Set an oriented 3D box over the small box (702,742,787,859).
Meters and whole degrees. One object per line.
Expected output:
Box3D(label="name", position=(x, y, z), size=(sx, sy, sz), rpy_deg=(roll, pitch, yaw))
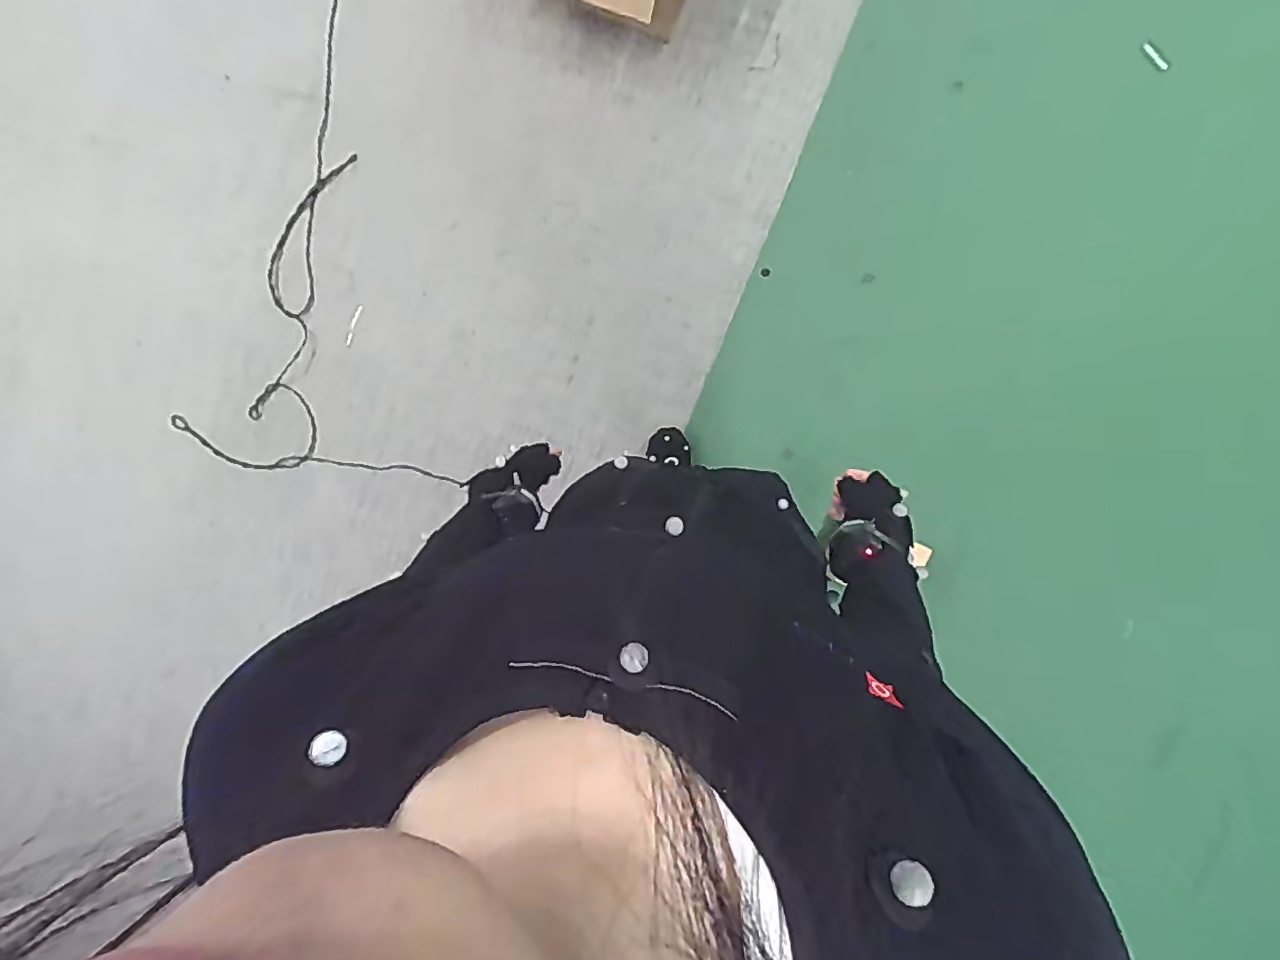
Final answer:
Box3D(label="small box", position=(0.277, 0.857, 1.463), size=(0.168, 0.176, 0.179), rpy_deg=(24, 97, 3))
